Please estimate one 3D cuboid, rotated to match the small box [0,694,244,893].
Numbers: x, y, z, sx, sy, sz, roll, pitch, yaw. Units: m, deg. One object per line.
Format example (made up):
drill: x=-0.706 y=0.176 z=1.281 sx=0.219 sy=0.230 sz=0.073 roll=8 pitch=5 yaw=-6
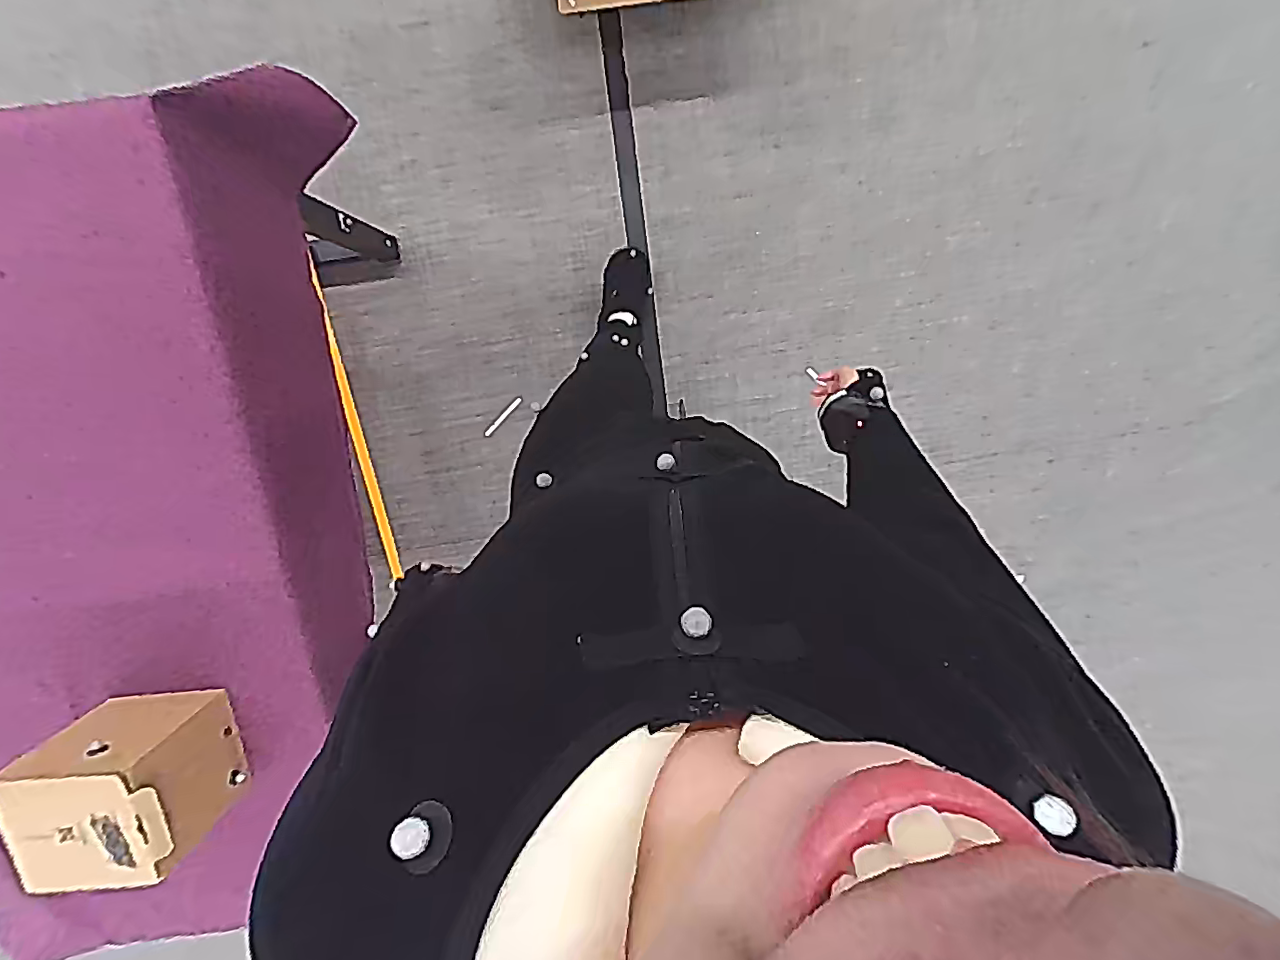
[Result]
small box: x=-0.686 y=0.414 z=0.738 sx=0.179 sy=0.176 sz=0.168 roll=-5 pitch=103 yaw=1
